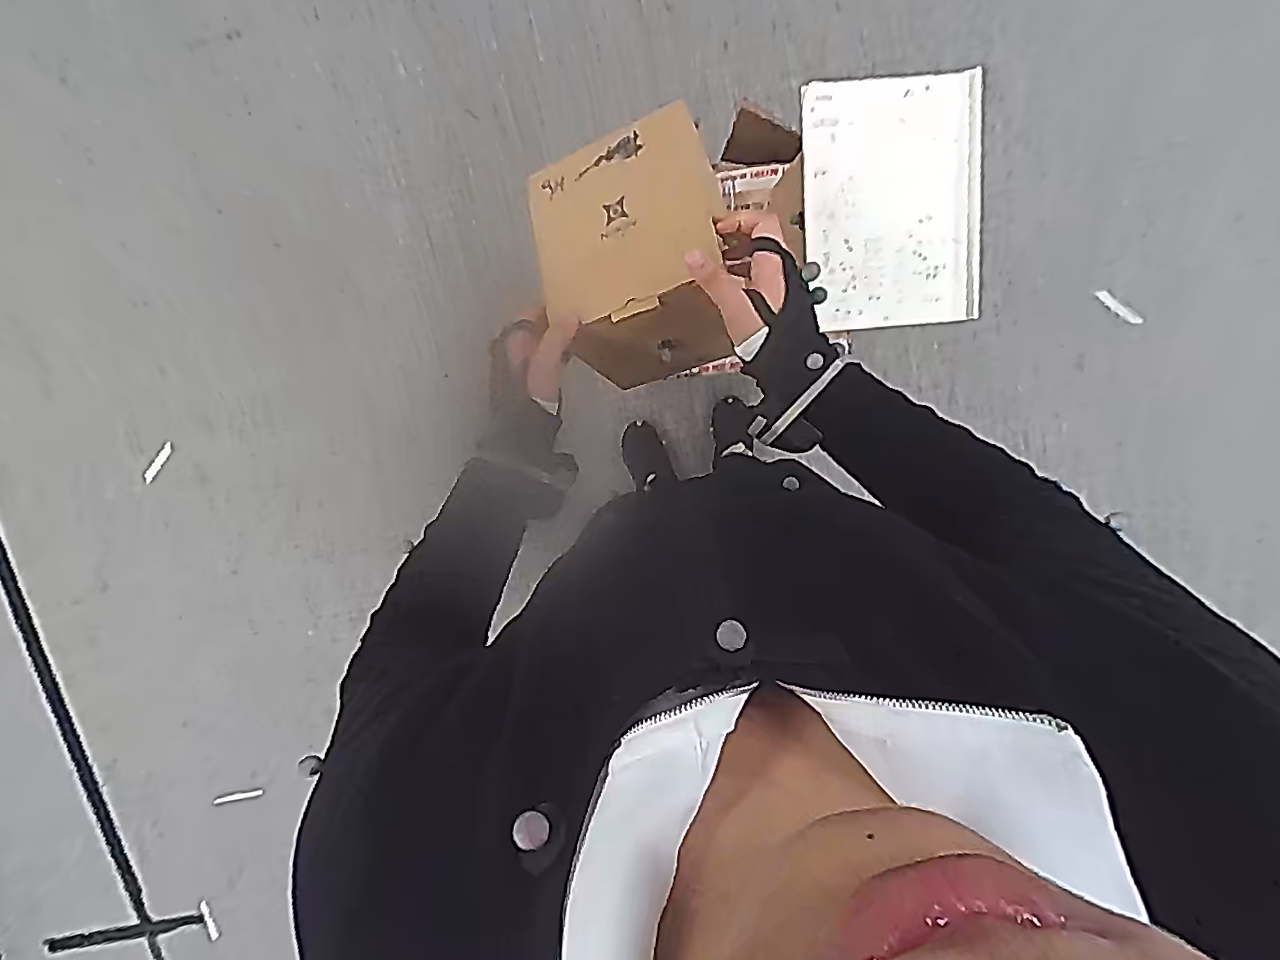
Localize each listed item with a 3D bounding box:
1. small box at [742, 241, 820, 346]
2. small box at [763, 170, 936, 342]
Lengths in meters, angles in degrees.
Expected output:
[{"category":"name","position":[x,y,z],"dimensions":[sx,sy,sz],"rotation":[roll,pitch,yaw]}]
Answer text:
[{"category":"small box","position":[0.280,-0.319,0.887],"dimensions":[0.179,0.176,0.168],"rotation":[-9,99,-1]},{"category":"small box","position":[0.268,-0.287,0.726],"dimensions":[0.168,0.176,0.179],"rotation":[-5,100,-2]}]
